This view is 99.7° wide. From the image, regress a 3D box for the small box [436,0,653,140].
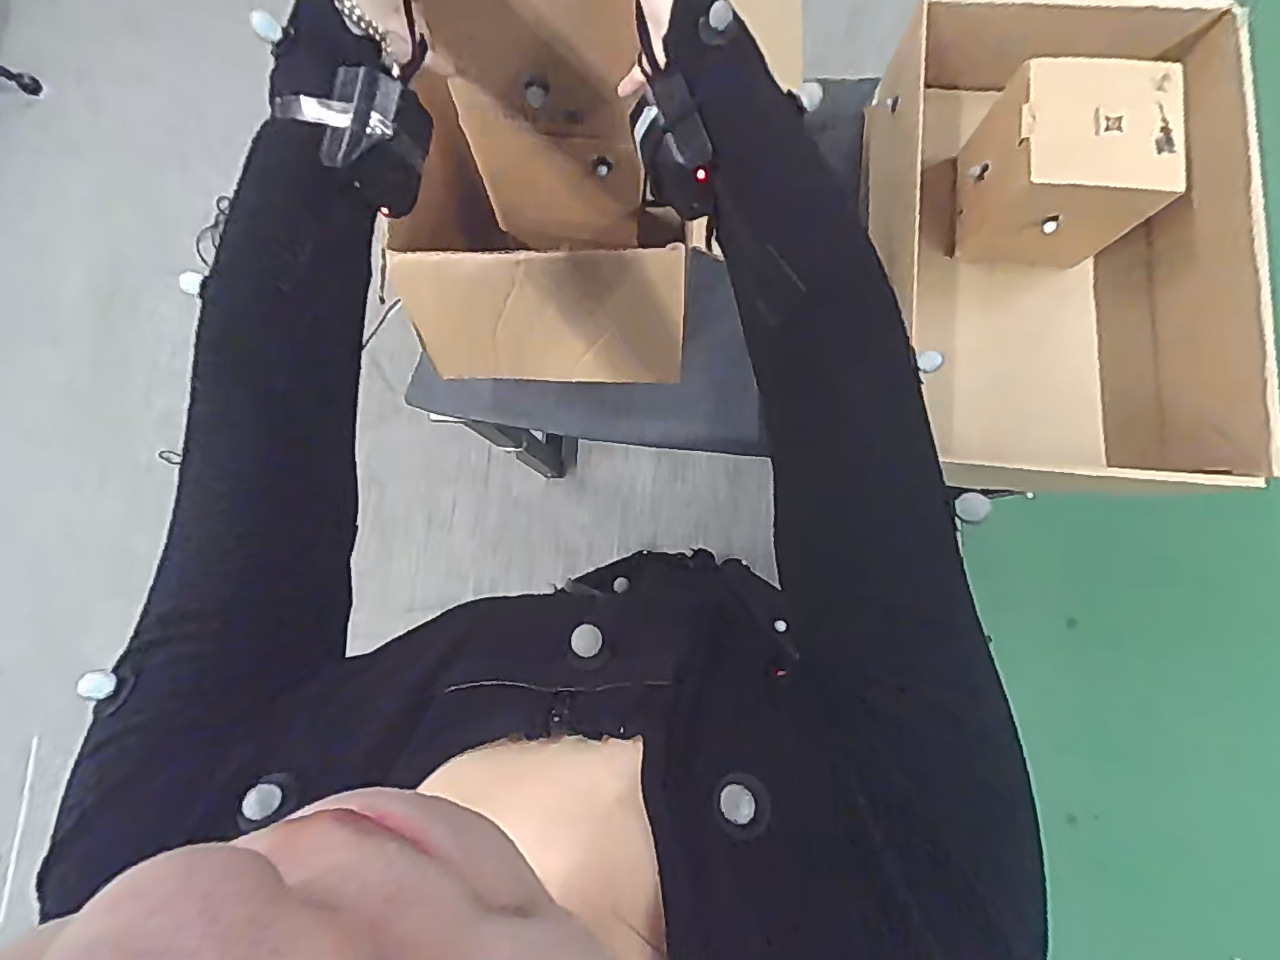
[{"bbox_3d":[-0.071,-0.420,0.436,0.168,0.176,0.179,3,81,-2],"label":"small box"}]
